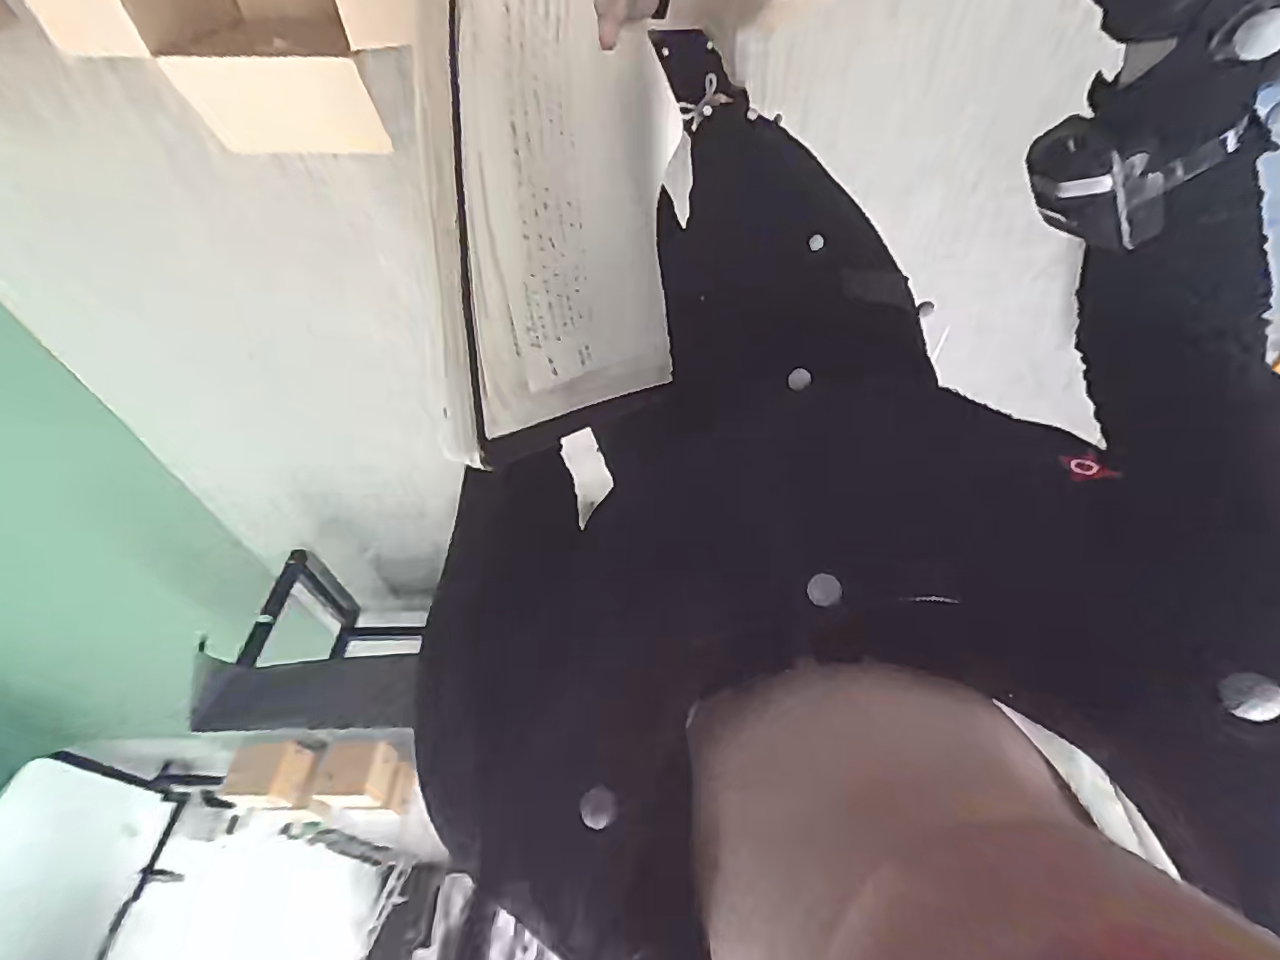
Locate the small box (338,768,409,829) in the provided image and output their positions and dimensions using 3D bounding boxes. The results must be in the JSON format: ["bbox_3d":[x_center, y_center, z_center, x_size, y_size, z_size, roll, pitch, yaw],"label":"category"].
[{"bbox_3d":[-0.972,1.166,1.987,0.168,0.176,0.179,1,137,-1],"label":"small box"}]

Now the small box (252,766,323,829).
[{"bbox_3d":[-1.262,1.168,1.984,0.168,0.176,0.179,0,136,-1],"label":"small box"}]

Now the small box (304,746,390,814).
[{"bbox_3d":[-0.969,1.001,1.805,0.179,0.176,0.168,-1,138,0],"label":"small box"}]
